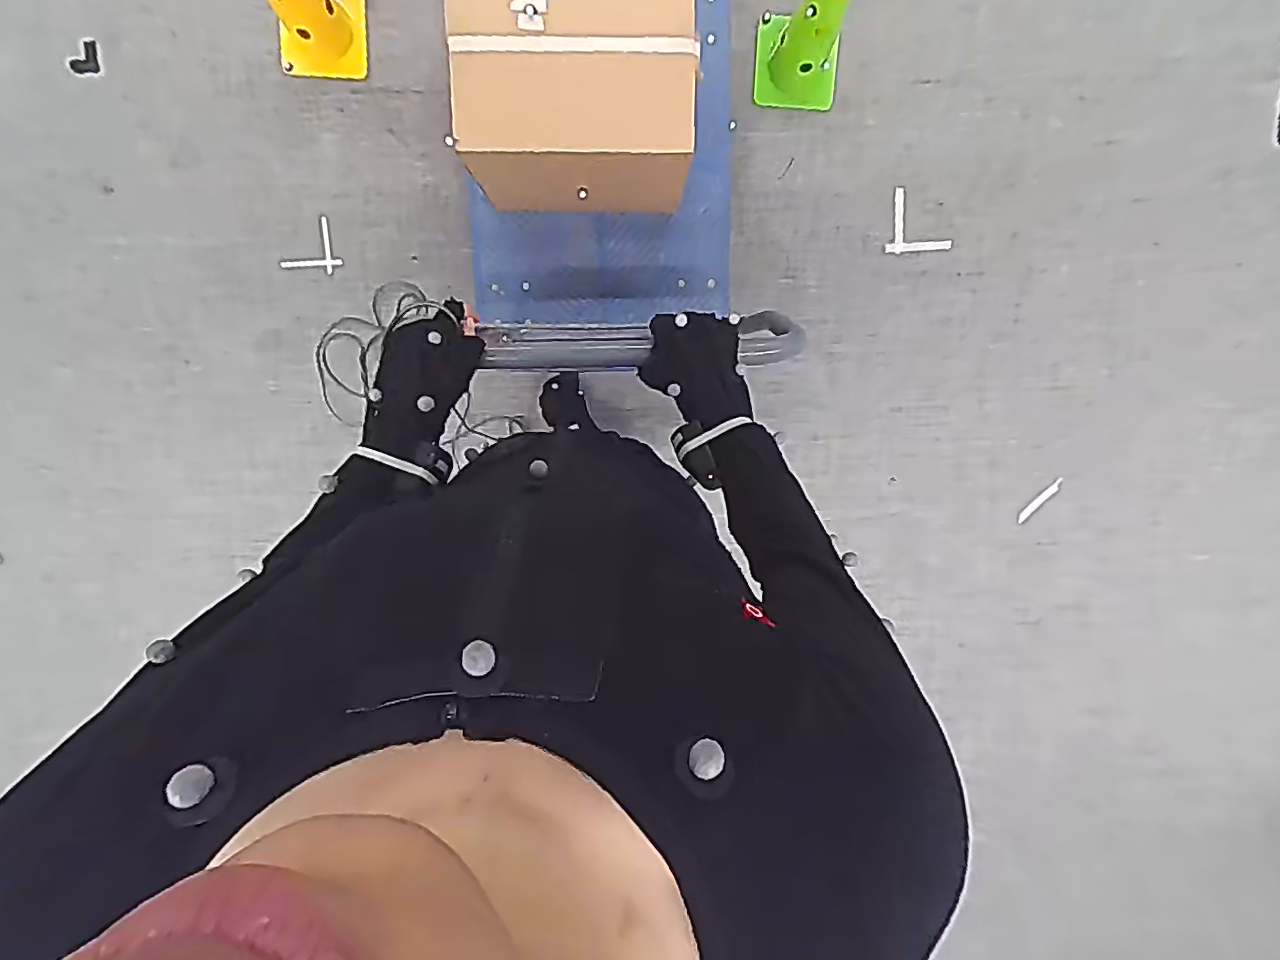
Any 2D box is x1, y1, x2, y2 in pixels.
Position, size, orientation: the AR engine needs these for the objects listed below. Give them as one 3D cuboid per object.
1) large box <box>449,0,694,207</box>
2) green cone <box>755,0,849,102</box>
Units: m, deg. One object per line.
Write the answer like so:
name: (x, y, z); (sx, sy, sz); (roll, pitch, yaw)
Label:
large box: (-0.111, -0.731, 1.031); (0.408, 0.320, 0.320); (0, 100, -1)
green cone: (0.392, -1.006, 1.147); (0.202, 0.368, 0.200); (2, 99, -3)
